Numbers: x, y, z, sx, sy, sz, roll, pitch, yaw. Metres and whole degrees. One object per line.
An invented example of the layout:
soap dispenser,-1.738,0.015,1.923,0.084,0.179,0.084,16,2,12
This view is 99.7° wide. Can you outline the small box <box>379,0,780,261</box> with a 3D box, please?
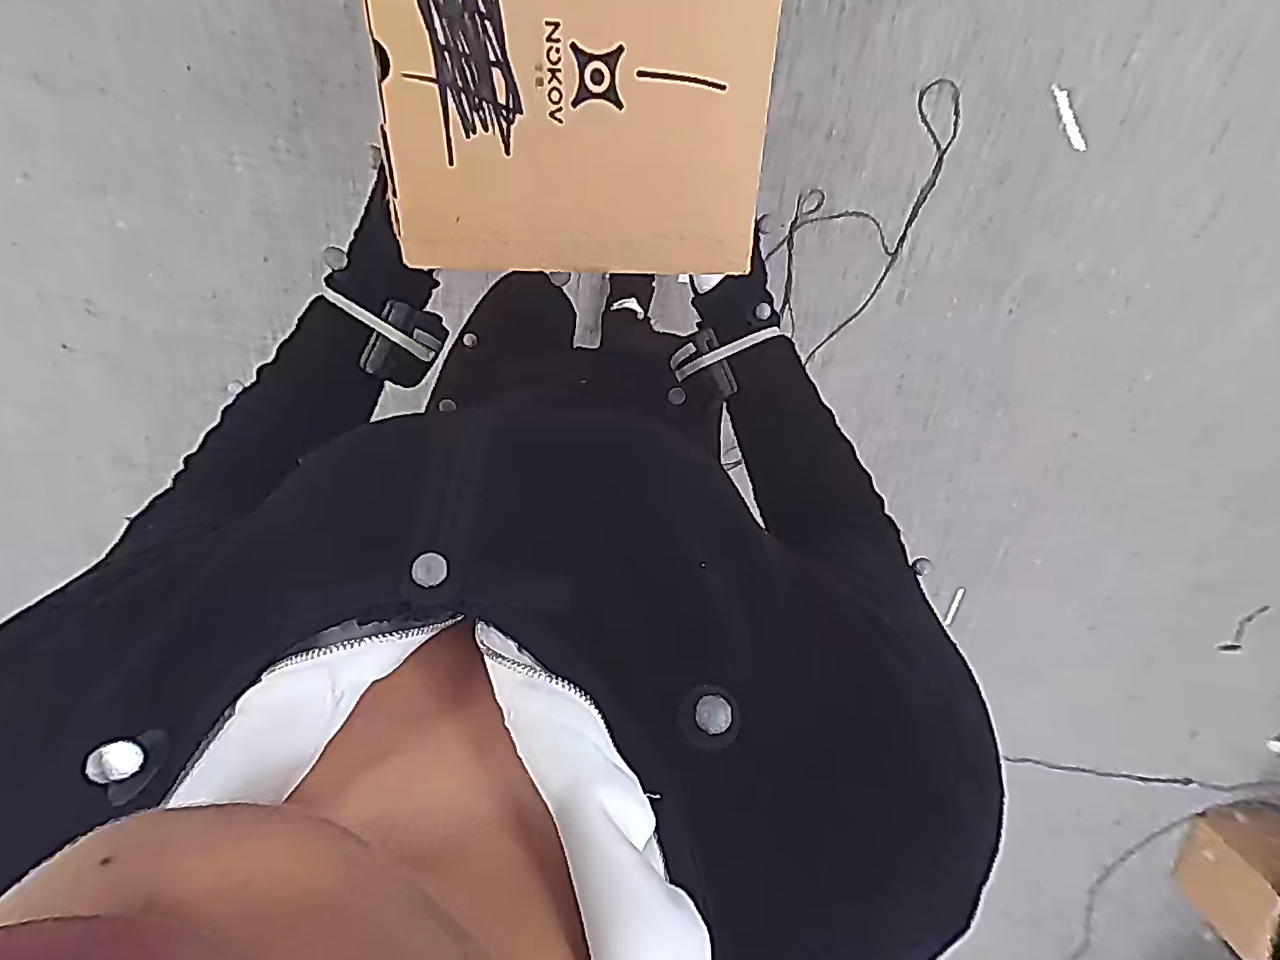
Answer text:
small box,-0.032,-0.226,0.312,0.179,0.176,0.168,-1,119,-6
